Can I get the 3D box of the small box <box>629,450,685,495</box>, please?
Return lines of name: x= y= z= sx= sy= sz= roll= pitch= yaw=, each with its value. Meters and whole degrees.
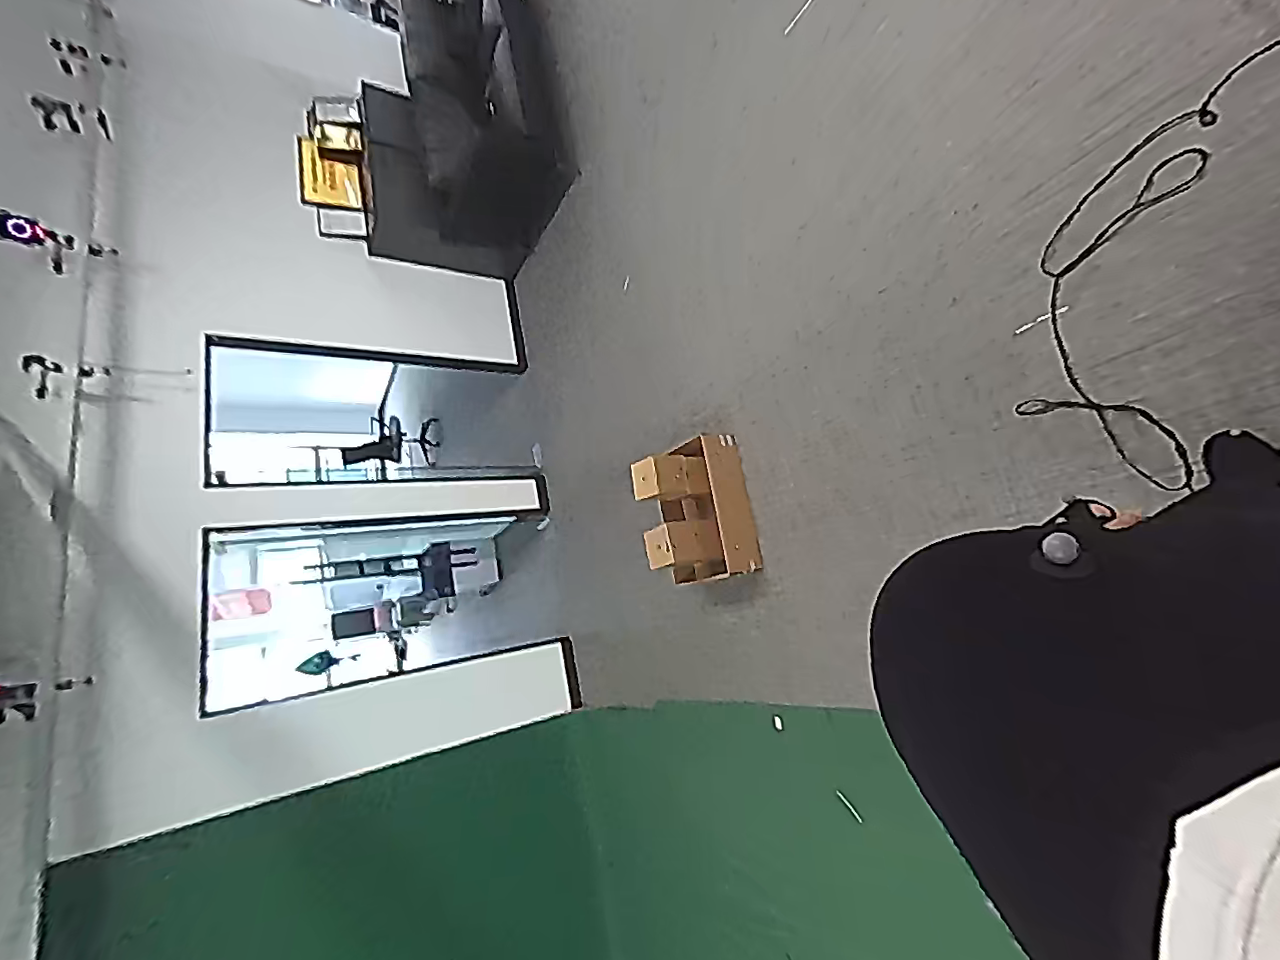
small box: x=0.075 y=-0.030 z=2.366 sx=0.179 sy=0.176 sz=0.168 roll=-21 pitch=75 yaw=53

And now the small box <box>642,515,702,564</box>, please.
small box: x=0.137 y=0.254 z=2.293 sx=0.179 sy=0.176 sz=0.168 roll=-32 pitch=67 yaw=52
